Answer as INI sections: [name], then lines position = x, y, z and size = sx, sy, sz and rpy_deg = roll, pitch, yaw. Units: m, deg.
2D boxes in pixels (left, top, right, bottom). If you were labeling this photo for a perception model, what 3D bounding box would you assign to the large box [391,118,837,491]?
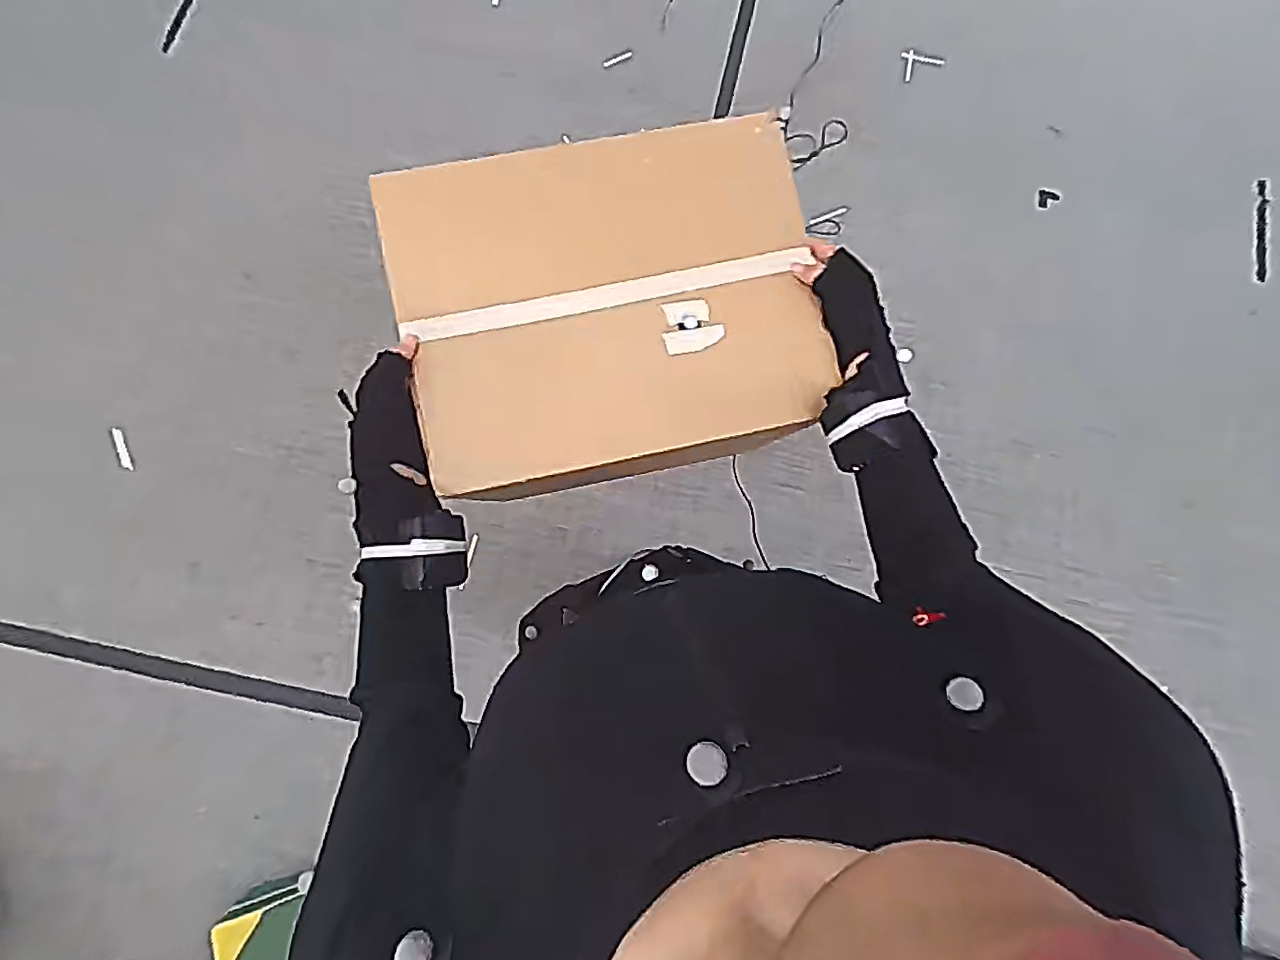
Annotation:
[large box]
position = -0.034, -0.178, 0.685
size = 0.408, 0.320, 0.320
rpy_deg = -11, 89, -5
